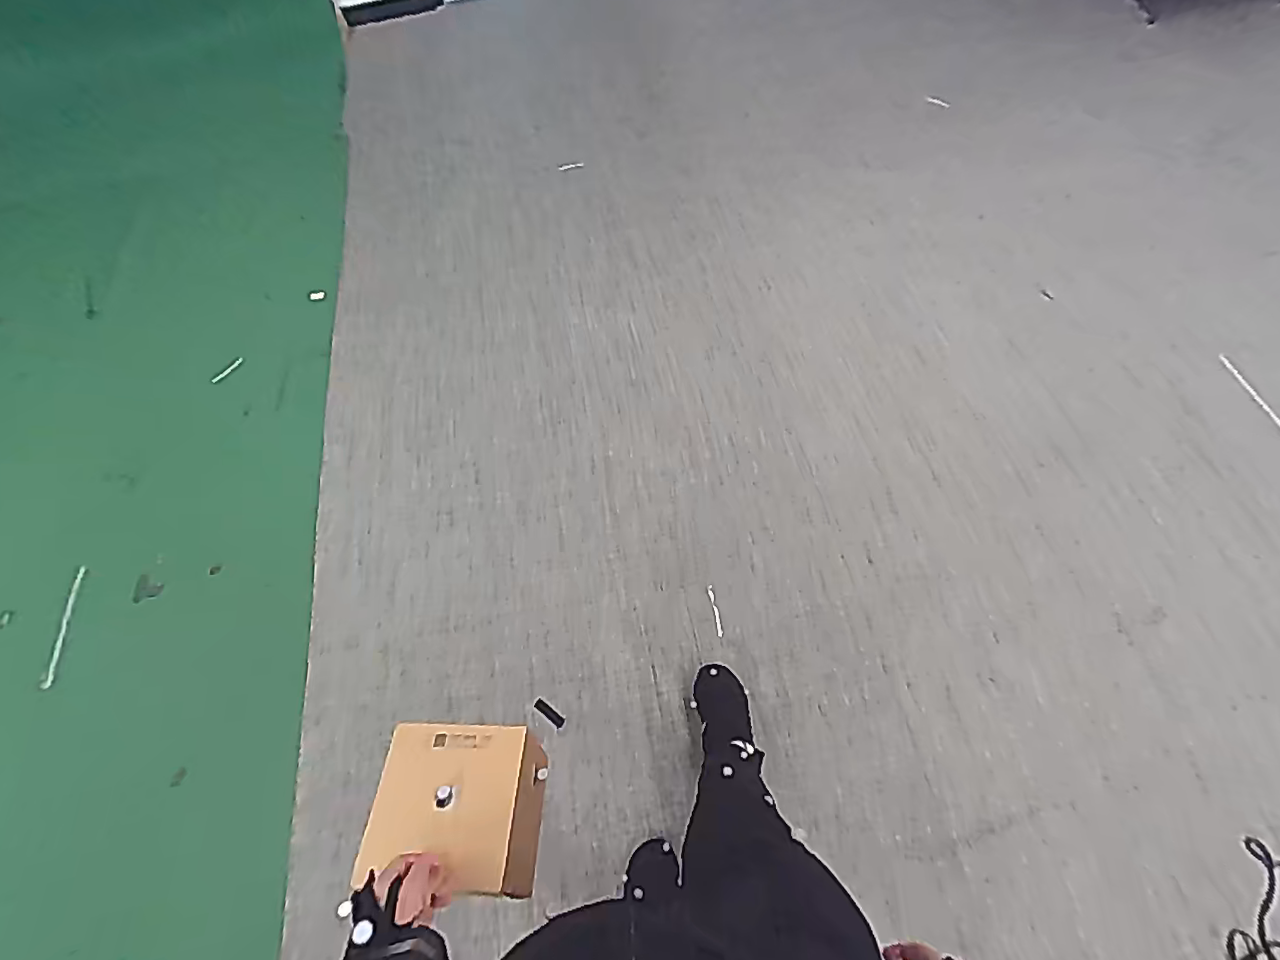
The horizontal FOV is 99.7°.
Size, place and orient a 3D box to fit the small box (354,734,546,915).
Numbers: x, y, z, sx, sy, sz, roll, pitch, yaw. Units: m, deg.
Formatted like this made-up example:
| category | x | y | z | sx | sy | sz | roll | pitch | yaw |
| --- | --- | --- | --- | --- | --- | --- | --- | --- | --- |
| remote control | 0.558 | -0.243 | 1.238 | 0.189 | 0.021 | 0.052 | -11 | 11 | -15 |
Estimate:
| category | x | y | z | sx | sy | sz | roll | pitch | yaw |
| --- | --- | --- | --- | --- | --- | --- | --- | --- | --- |
| small box | -0.219 | 0.430 | 0.679 | 0.168 | 0.179 | 0.176 | -1 | 48 | 2 |
